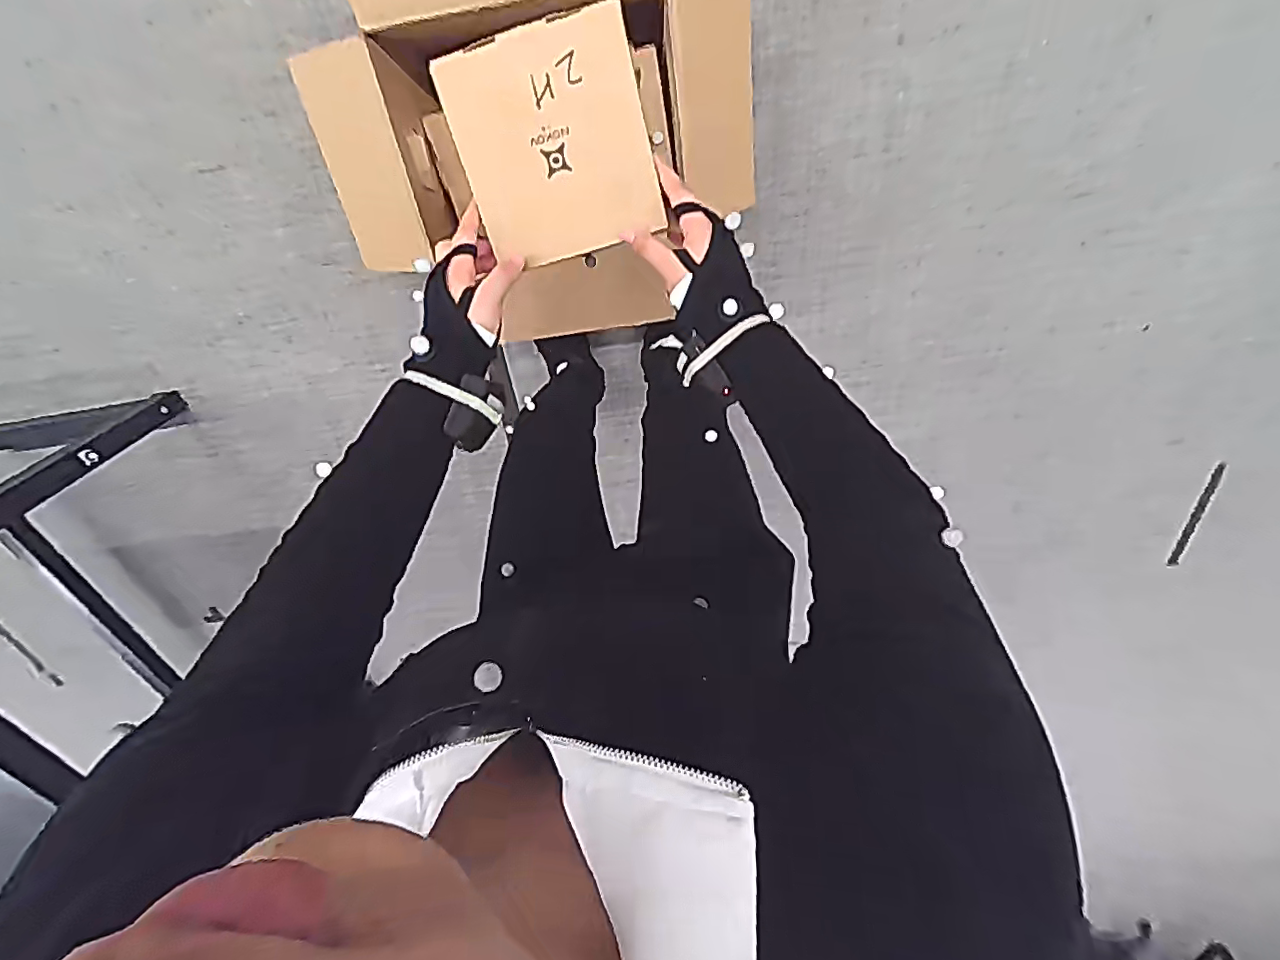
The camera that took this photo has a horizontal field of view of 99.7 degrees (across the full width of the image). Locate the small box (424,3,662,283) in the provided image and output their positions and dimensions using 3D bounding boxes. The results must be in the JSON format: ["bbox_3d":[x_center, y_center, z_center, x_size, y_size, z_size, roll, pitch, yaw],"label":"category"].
[{"bbox_3d":[-0.075,-0.312,0.534,0.168,0.176,0.179,-13,114,7],"label":"small box"}]
